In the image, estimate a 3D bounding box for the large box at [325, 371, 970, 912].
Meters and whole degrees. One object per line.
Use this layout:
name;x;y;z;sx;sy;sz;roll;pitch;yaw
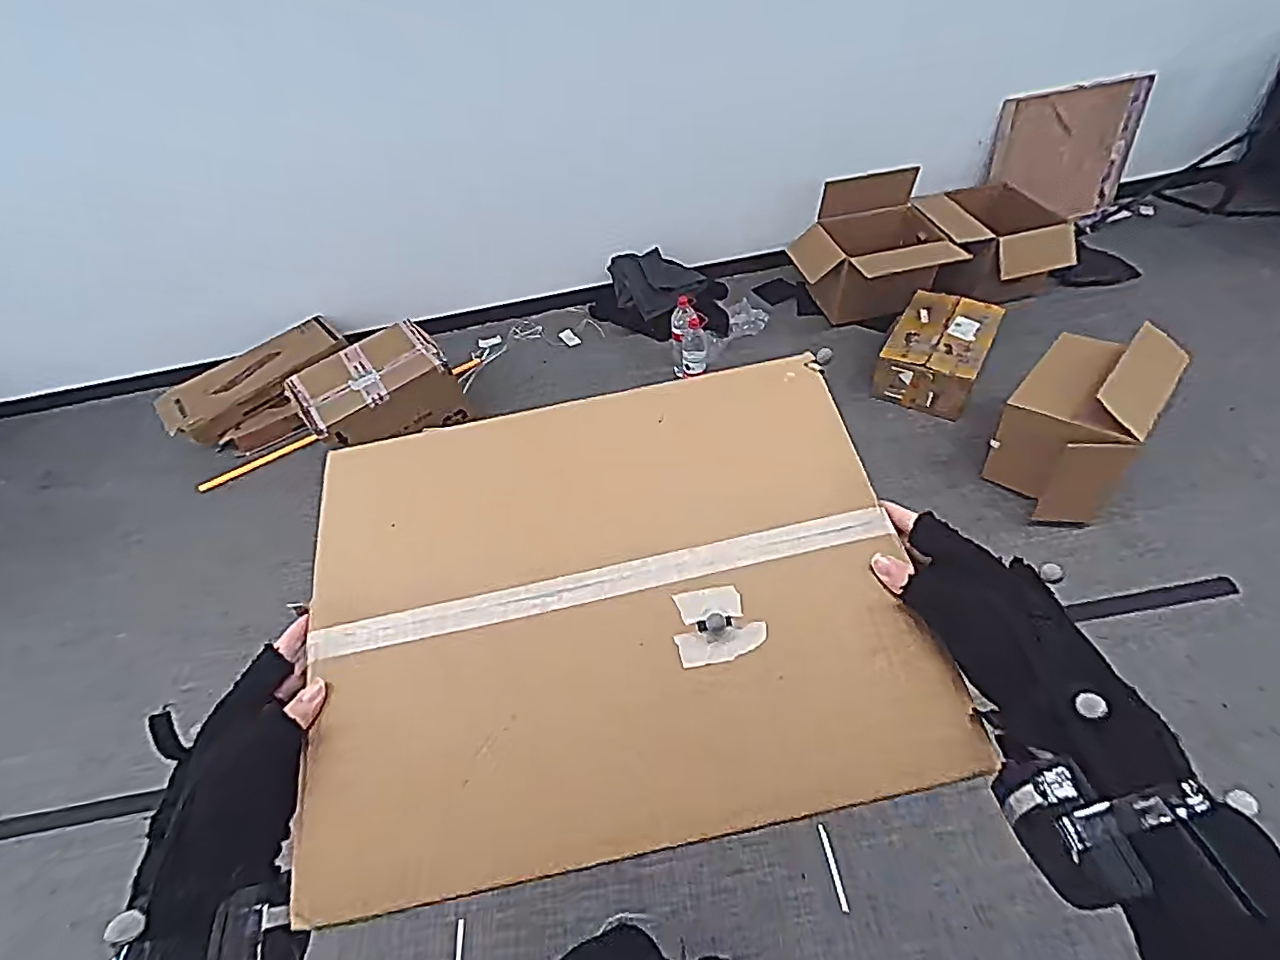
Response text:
large box;-0.012;0.147;0.520;0.408;0.320;0.320;-11;63;-3
